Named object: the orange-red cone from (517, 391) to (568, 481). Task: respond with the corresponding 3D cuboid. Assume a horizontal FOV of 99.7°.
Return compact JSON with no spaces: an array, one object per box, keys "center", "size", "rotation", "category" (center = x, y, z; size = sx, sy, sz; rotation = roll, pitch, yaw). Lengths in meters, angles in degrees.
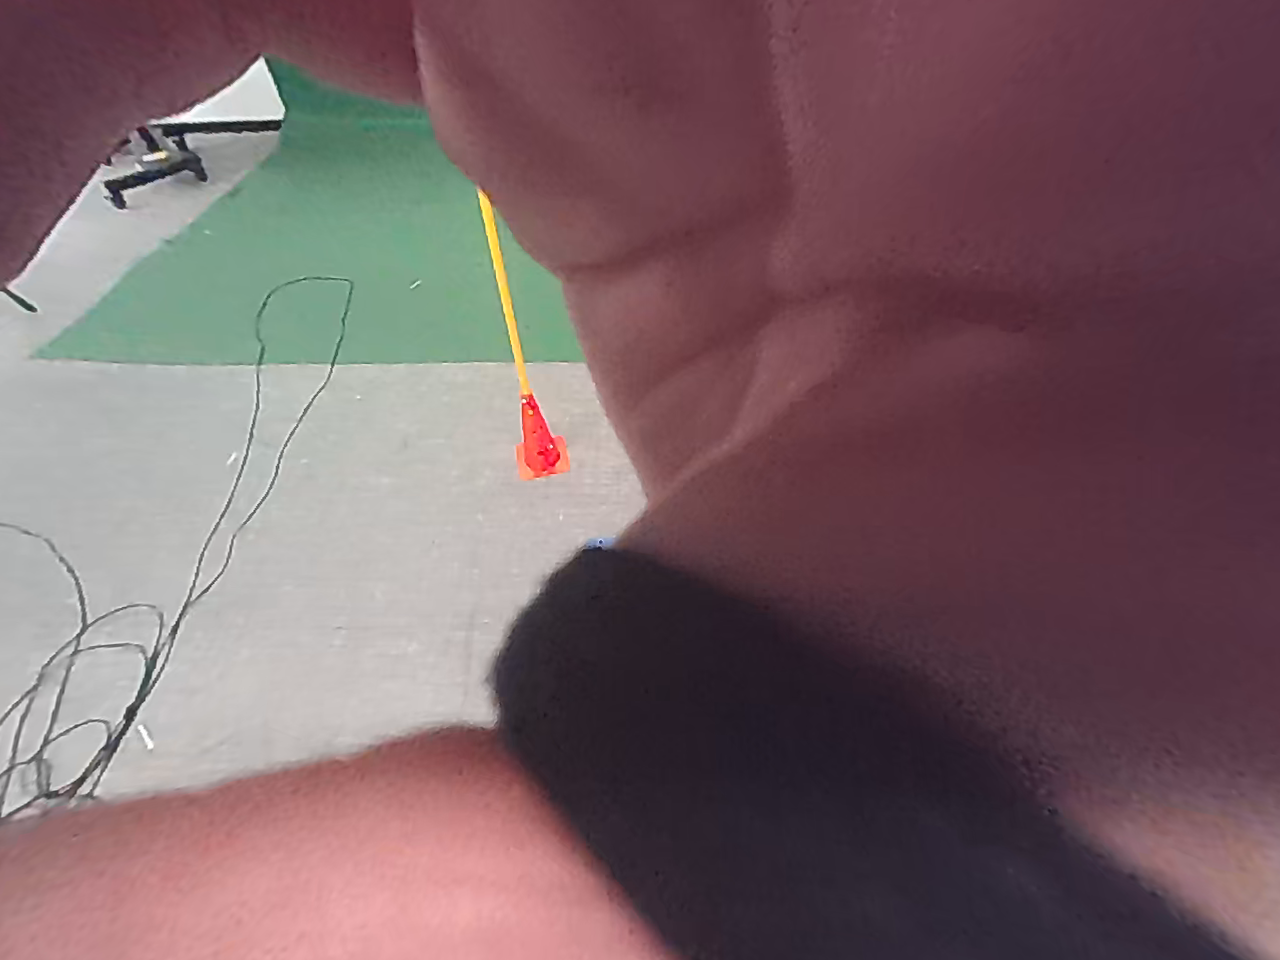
[{"center":[-0.401,-0.189,2.034],"size":[0.199,0.360,0.198],"rotation":[-12,51,-6],"category":"orange-red cone"}]
